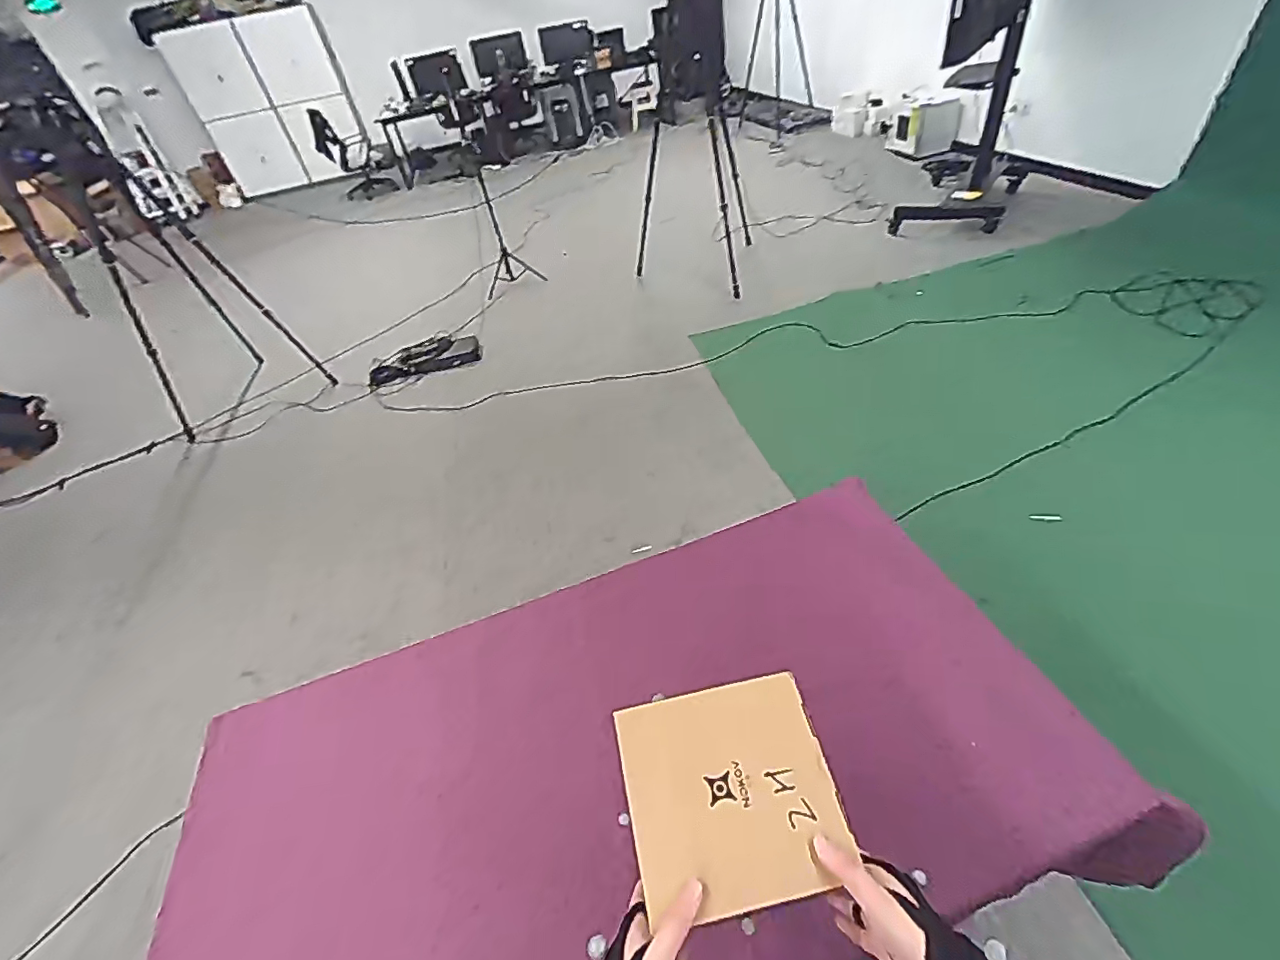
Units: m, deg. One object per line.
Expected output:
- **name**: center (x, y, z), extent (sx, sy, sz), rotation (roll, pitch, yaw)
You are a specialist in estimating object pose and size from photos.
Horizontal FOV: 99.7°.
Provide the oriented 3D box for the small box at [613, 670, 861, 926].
- **small box**: center (0.081, 0.308, 0.524), extent (0.179, 0.176, 0.168), rotation (-12, 53, -4)
